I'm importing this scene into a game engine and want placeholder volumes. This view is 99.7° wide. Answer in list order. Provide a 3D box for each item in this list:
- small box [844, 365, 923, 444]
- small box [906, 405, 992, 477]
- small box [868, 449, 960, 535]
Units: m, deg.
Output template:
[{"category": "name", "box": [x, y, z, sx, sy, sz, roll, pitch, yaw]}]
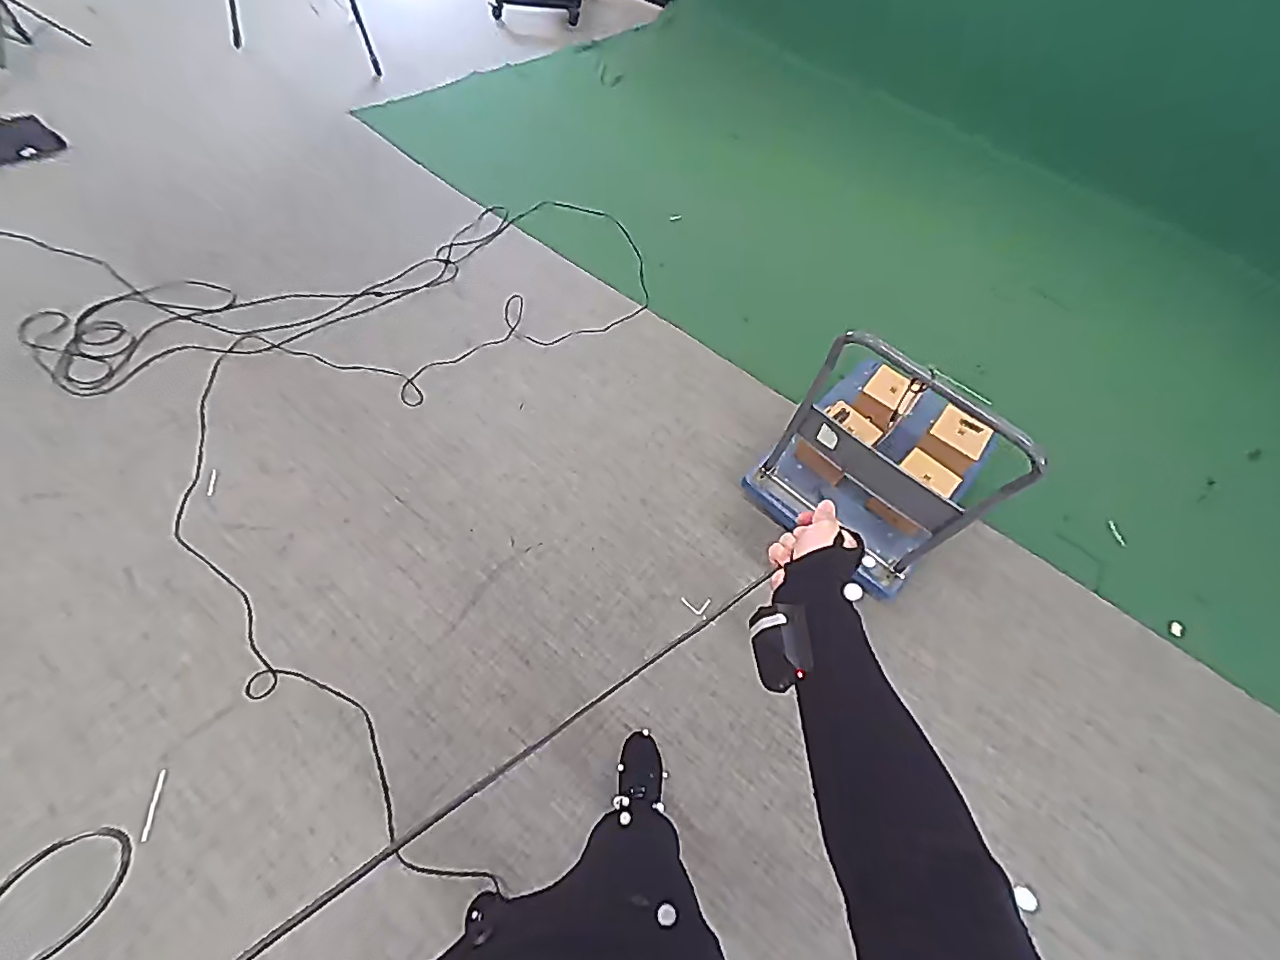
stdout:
[{"category": "small box", "box": [0.845, -0.260, 1.897, 0.168, 0.176, 0.179, 38, 60, 15]}, {"category": "small box", "box": [1.039, -0.114, 1.831, 0.168, 0.176, 0.179, 37, 61, 16]}, {"category": "small box", "box": [0.856, 0.040, 1.705, 0.168, 0.176, 0.179, 41, 61, 18]}]
